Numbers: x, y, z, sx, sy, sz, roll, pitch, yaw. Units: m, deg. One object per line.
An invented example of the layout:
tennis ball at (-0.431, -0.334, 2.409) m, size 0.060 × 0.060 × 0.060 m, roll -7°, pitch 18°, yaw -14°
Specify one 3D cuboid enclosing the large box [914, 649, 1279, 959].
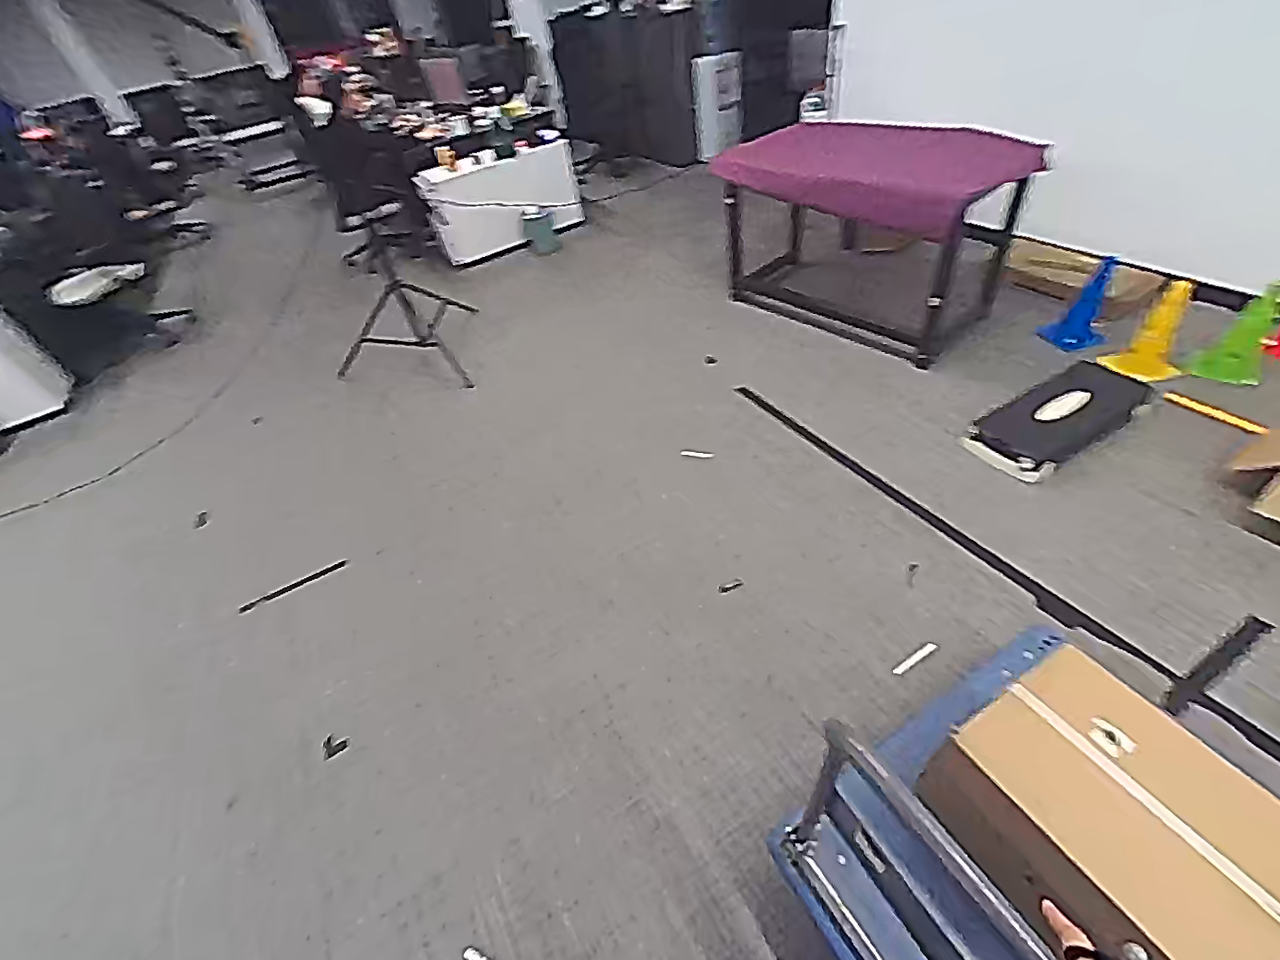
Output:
large box at (0.776, 0.596, 0.946) m, size 0.320 × 0.320 × 0.408 m, roll -26°, pitch 45°, yaw -16°
